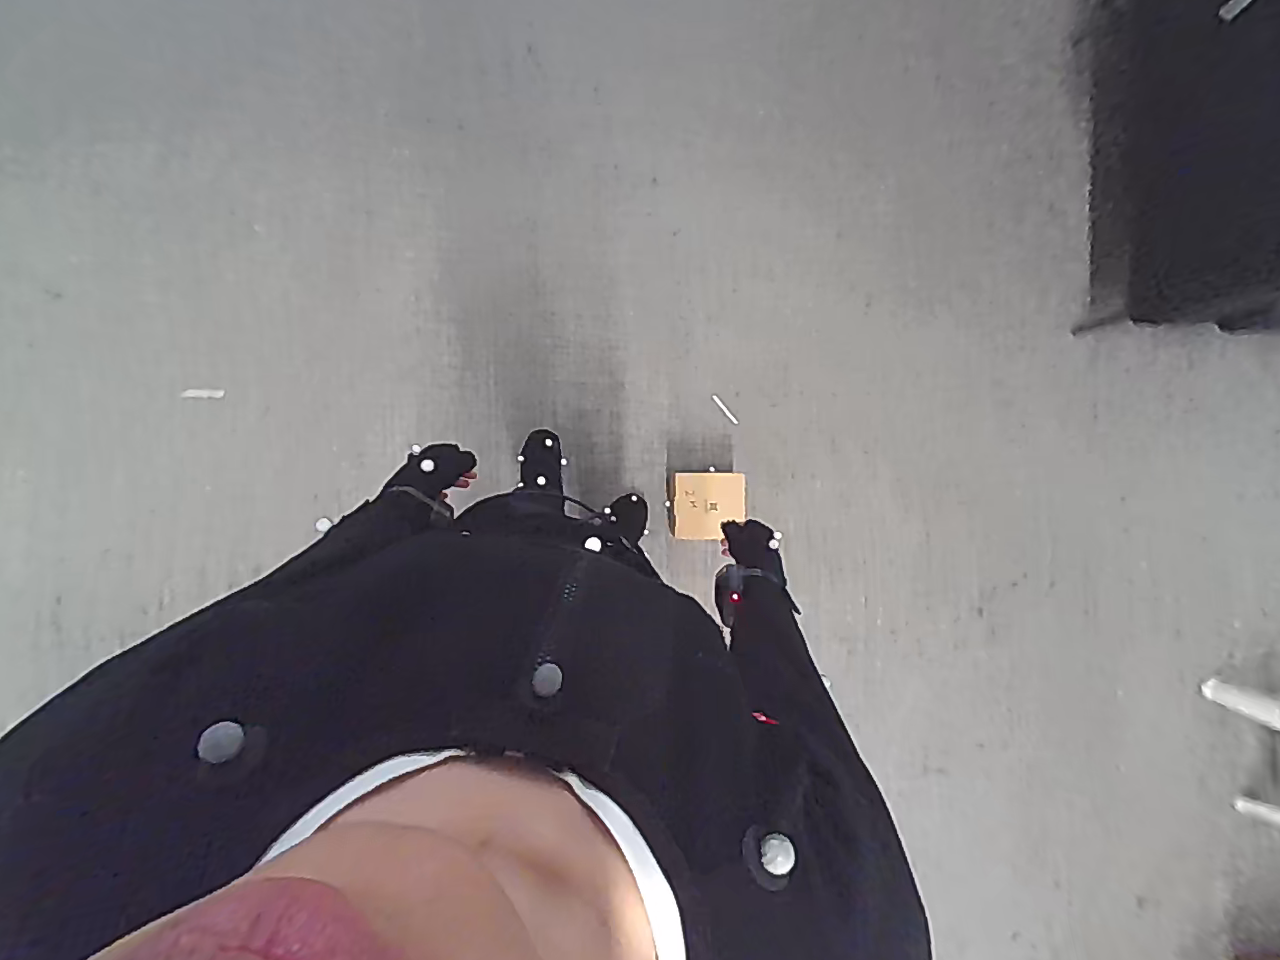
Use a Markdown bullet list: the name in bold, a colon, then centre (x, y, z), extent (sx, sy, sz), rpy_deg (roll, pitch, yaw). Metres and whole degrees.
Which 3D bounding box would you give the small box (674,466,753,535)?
- **small box**: centre (0.186, 0.049, 1.402), extent (0.179, 0.176, 0.168), rpy_deg (1, 91, -1)
